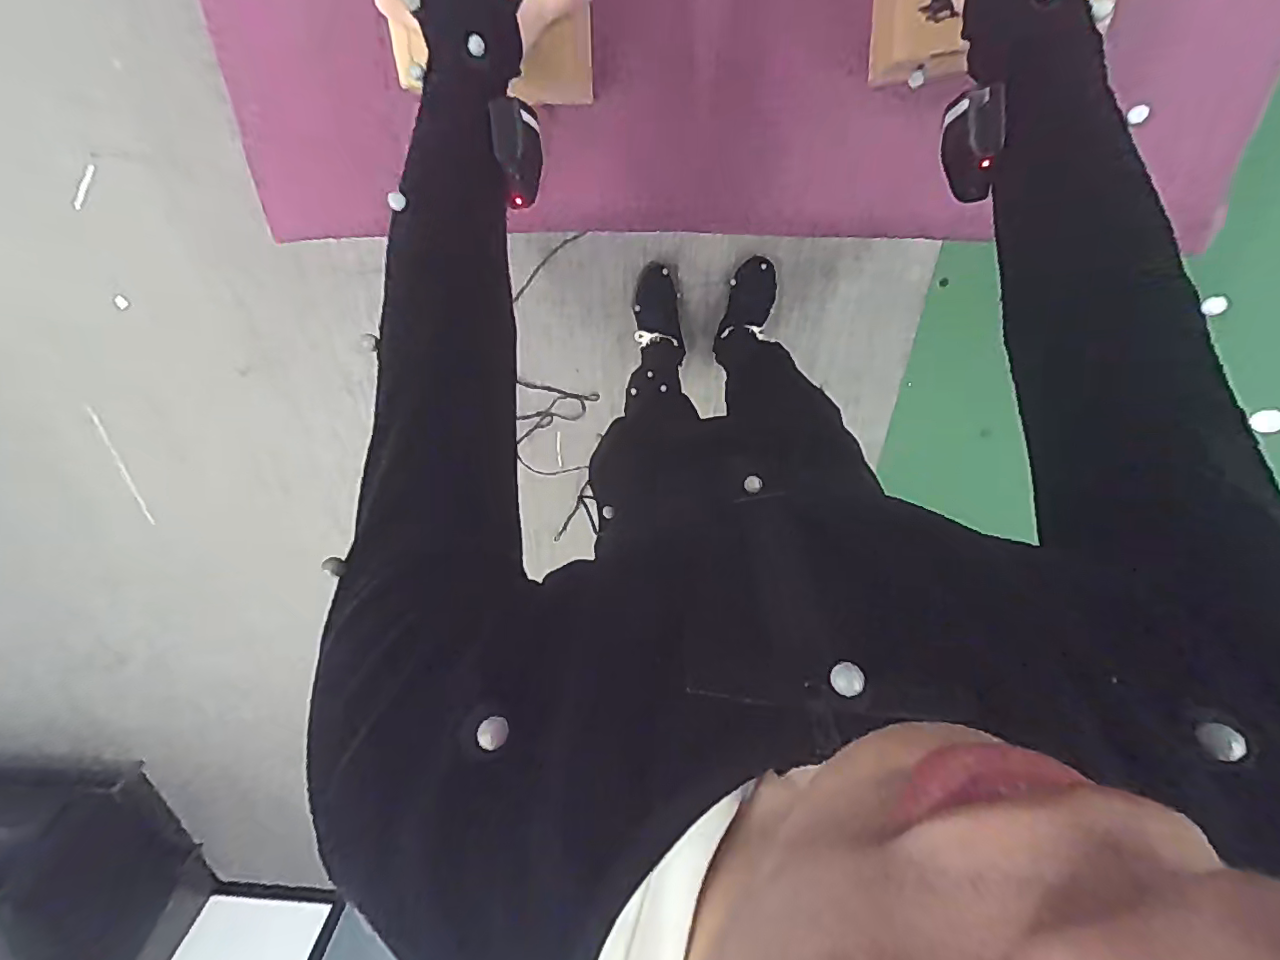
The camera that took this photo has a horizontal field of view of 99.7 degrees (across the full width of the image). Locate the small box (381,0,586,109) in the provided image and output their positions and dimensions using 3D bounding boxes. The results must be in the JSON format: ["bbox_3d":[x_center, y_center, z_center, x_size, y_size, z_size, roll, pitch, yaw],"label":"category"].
[{"bbox_3d":[-0.148,-0.487,0.541,0.168,0.176,0.179,2,120,3],"label":"small box"}]
